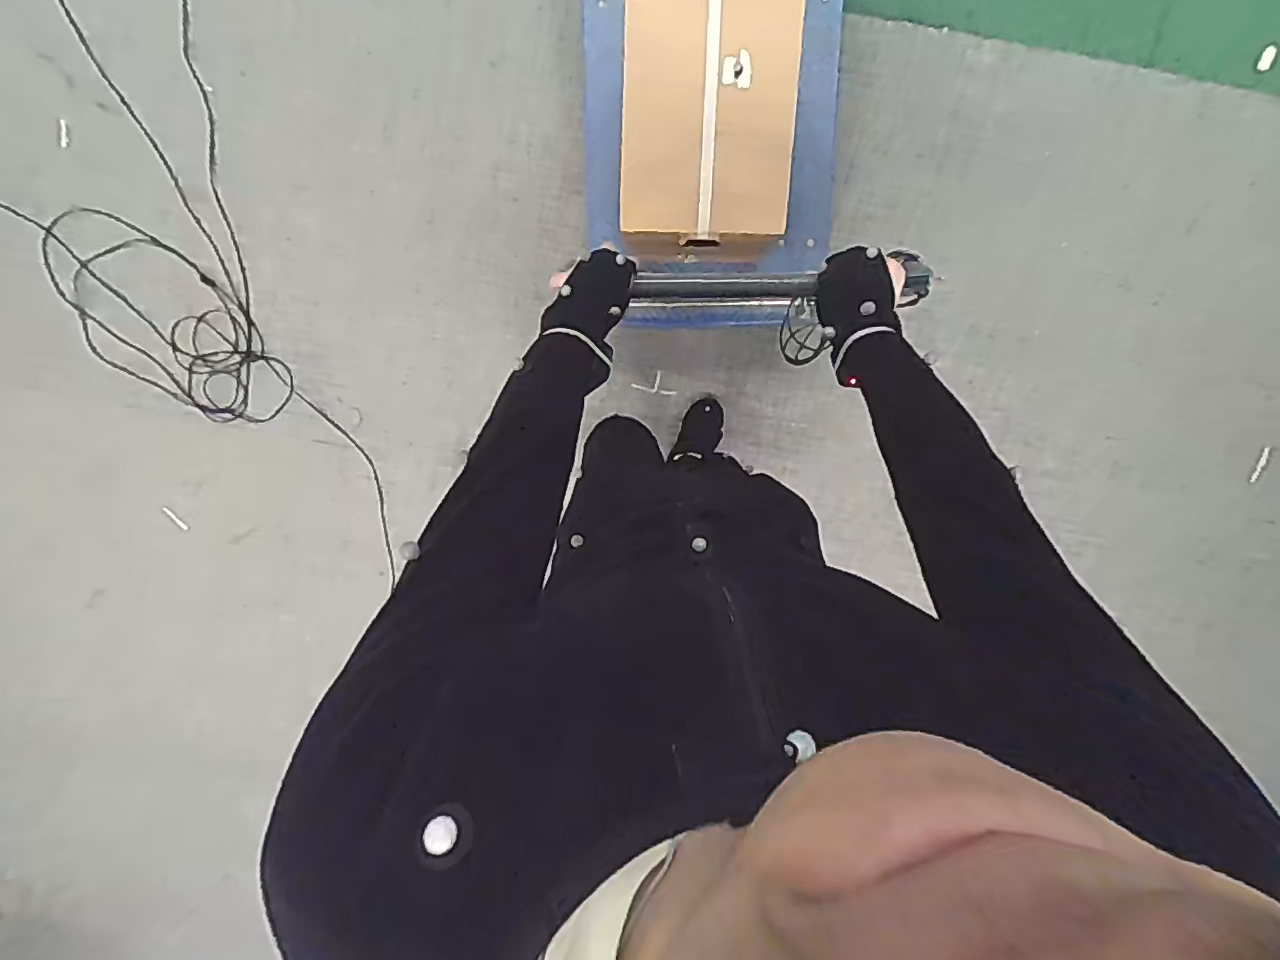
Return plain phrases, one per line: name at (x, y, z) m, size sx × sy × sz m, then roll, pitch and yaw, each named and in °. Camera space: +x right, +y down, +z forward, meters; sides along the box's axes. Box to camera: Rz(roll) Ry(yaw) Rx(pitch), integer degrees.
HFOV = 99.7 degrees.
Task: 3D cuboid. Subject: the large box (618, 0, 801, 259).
large box at (0.126, -0.689, 1.107) m, size 0.320 × 0.320 × 0.408 m, roll 2°, pitch 102°, yaw 2°
